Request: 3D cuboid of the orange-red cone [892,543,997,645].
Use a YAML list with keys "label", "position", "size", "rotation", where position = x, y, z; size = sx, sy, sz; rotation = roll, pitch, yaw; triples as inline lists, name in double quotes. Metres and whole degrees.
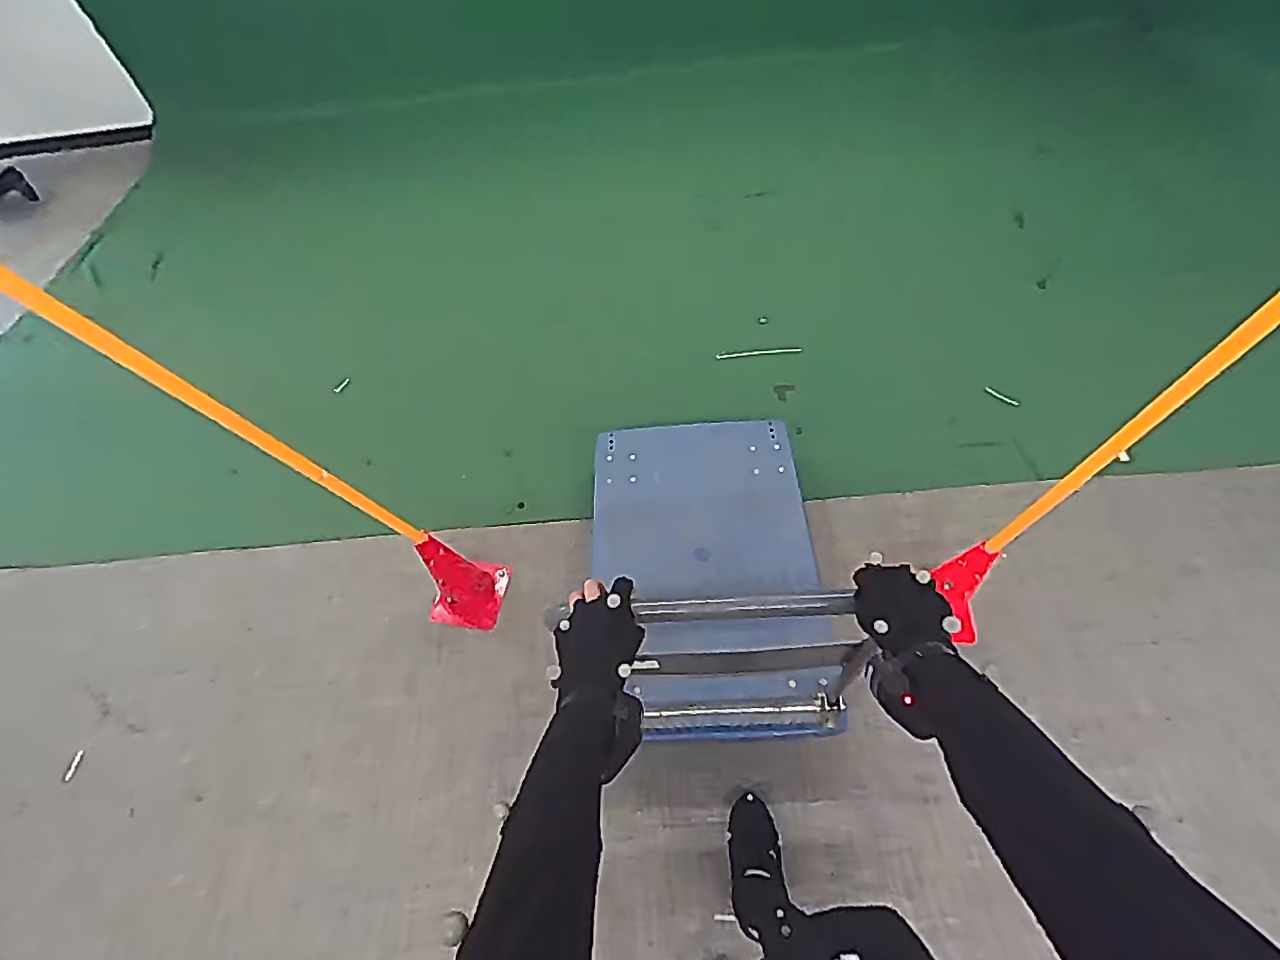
- label: "orange-red cone"
  position: [0.774, 0.249, 1.319]
  size: [0.198, 0.360, 0.199]
  rotation: [4, 58, 9]
